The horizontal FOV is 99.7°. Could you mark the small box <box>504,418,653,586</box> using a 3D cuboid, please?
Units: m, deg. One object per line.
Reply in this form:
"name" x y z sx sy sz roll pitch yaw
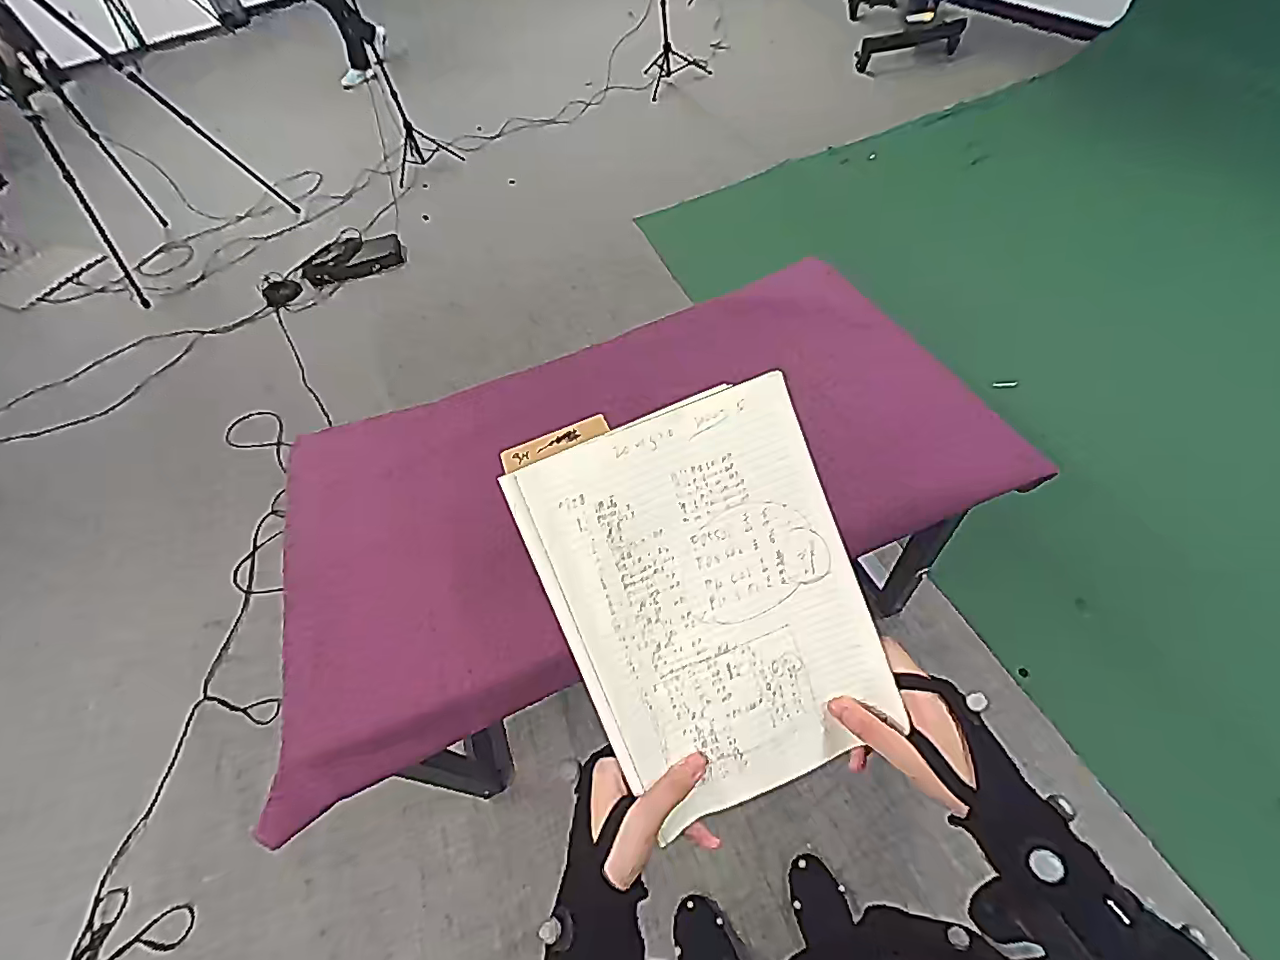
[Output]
"small box" -0.089 0.043 0.832 0.168 0.176 0.179 -22 55 -6
